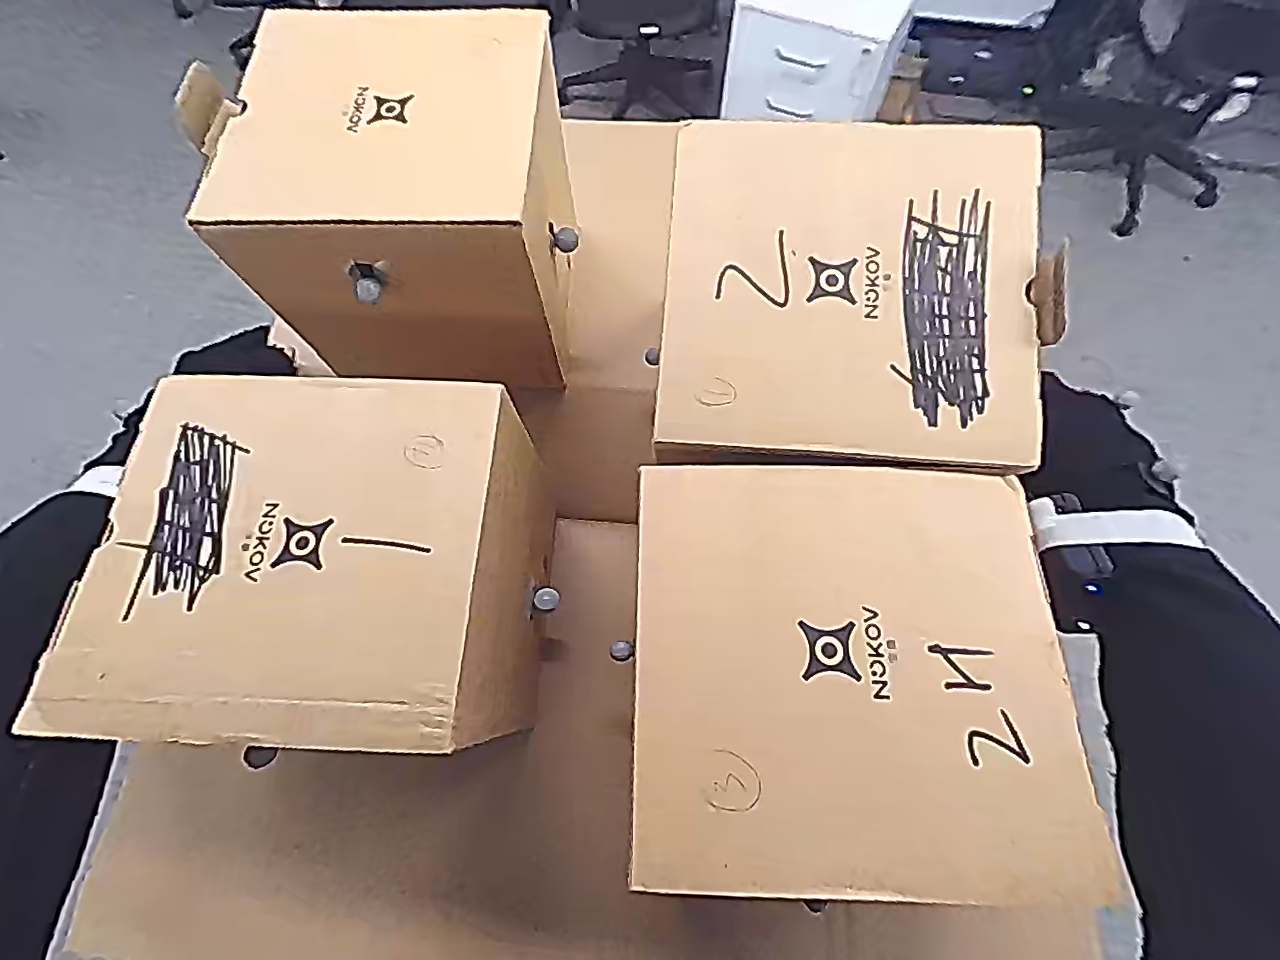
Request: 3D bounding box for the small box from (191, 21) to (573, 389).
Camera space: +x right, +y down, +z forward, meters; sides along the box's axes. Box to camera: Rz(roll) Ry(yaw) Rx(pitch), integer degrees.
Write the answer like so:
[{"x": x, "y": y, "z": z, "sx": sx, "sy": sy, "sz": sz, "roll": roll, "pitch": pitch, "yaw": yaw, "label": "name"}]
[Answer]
[{"x": -0.147, "y": -0.176, "z": 0.383, "sx": 0.179, "sy": 0.176, "sz": 0.168, "roll": 0, "pitch": 70, "yaw": 2, "label": "small box"}]
